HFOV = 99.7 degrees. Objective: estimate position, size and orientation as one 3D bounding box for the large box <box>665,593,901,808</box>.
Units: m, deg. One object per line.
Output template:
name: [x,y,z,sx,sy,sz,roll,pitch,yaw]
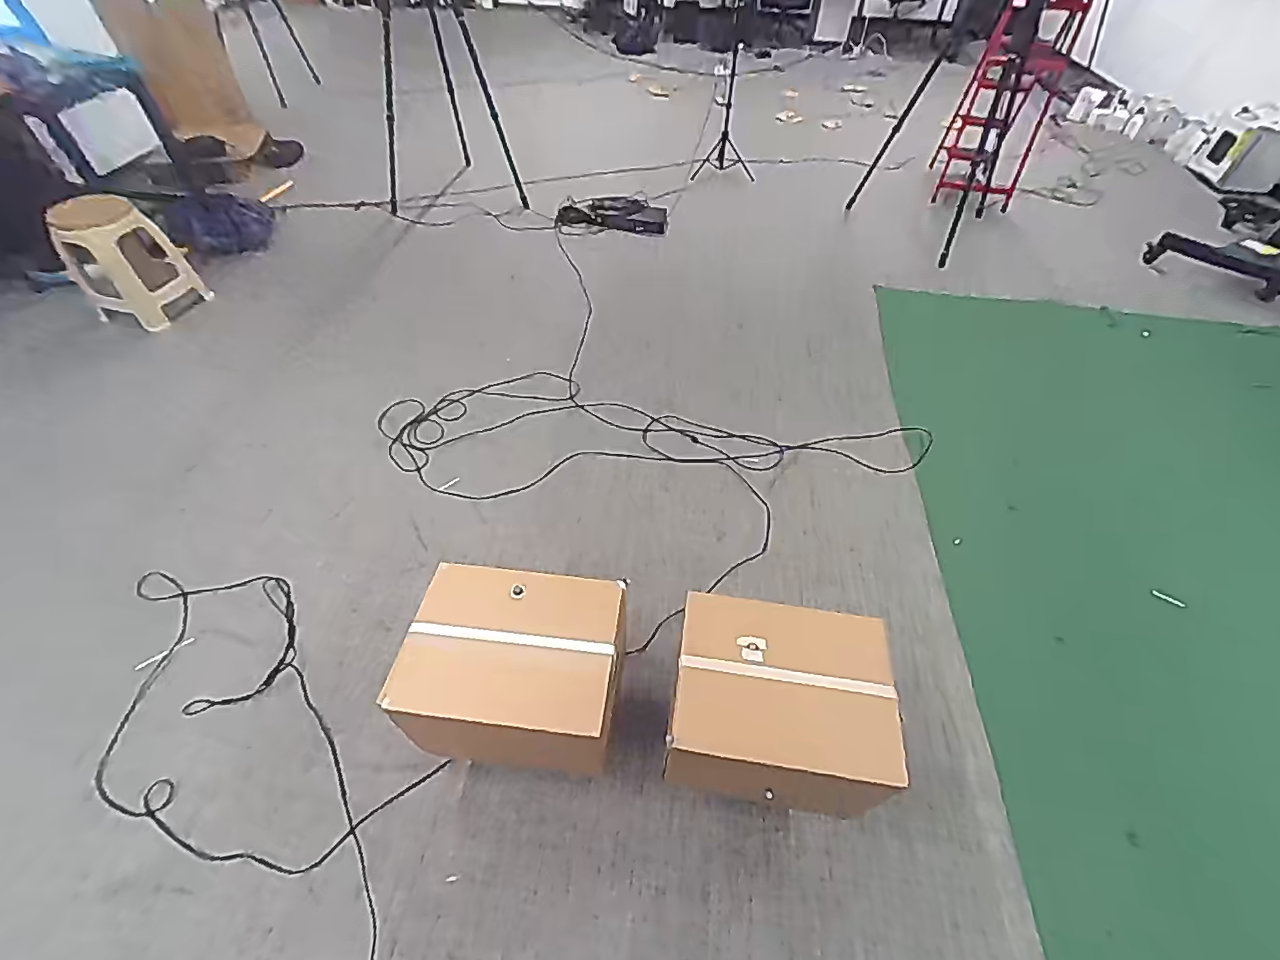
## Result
large box: [0.275,0.473,1.151,0.408,0.320,0.320,8,50,5]
